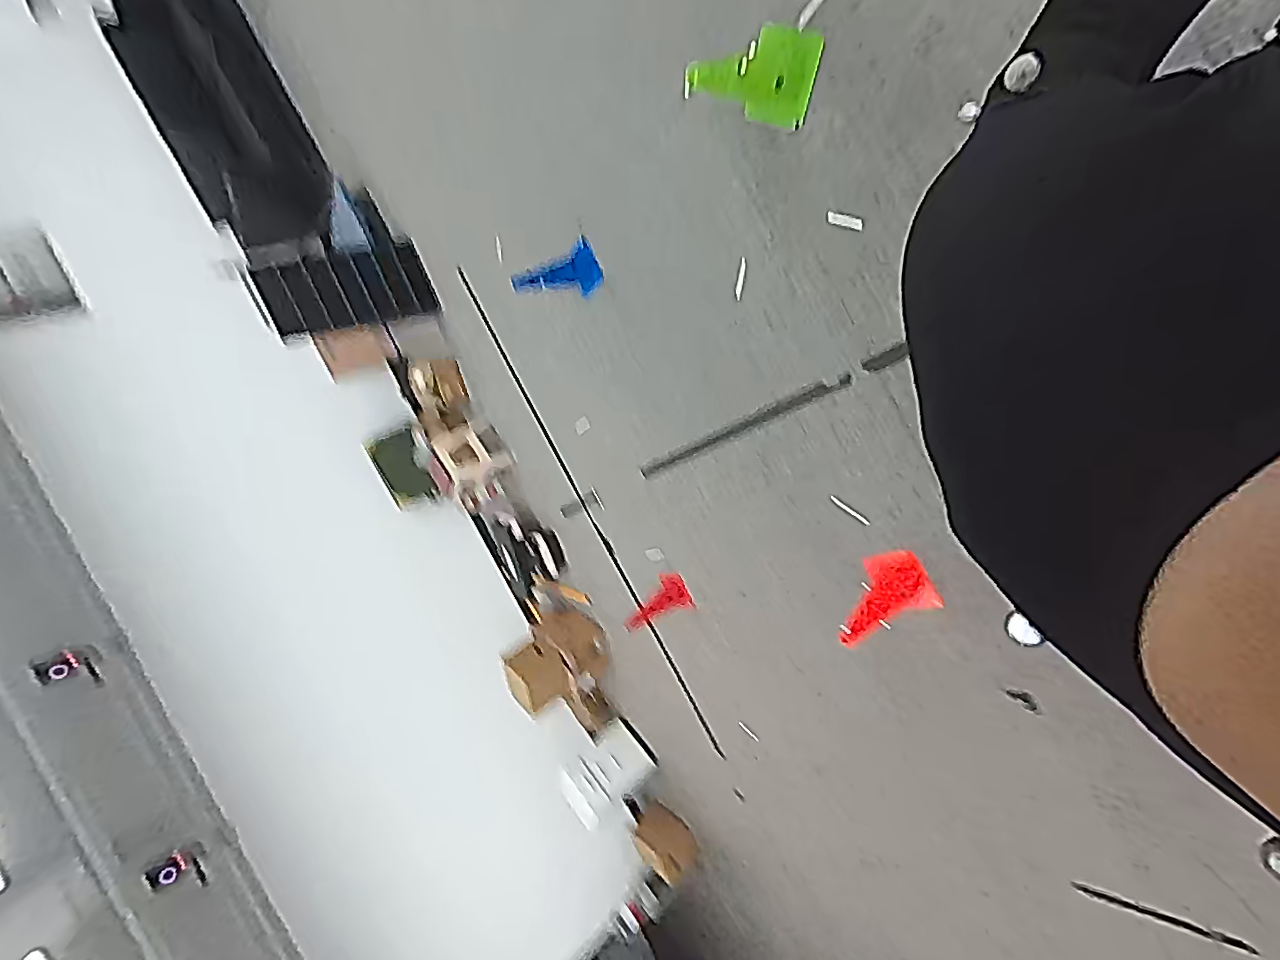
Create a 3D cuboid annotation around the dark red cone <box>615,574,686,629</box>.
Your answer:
[{"bbox_3d":[0.036,0.650,2.776,0.202,0.394,0.201,-15,100,56],"label":"dark red cone"}]

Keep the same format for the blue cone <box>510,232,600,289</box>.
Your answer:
[{"bbox_3d":[-0.370,-0.890,2.274,0.193,0.380,0.192,-19,96,56],"label":"blue cone"}]

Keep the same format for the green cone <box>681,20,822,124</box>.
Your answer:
[{"bbox_3d":[0.245,-1.009,1.331,0.202,0.368,0.200,41,141,30],"label":"green cone"}]

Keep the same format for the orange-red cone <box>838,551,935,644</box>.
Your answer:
[{"bbox_3d":[0.732,0.400,1.706,0.199,0.360,0.198,-30,90,55],"label":"orange-red cone"}]
